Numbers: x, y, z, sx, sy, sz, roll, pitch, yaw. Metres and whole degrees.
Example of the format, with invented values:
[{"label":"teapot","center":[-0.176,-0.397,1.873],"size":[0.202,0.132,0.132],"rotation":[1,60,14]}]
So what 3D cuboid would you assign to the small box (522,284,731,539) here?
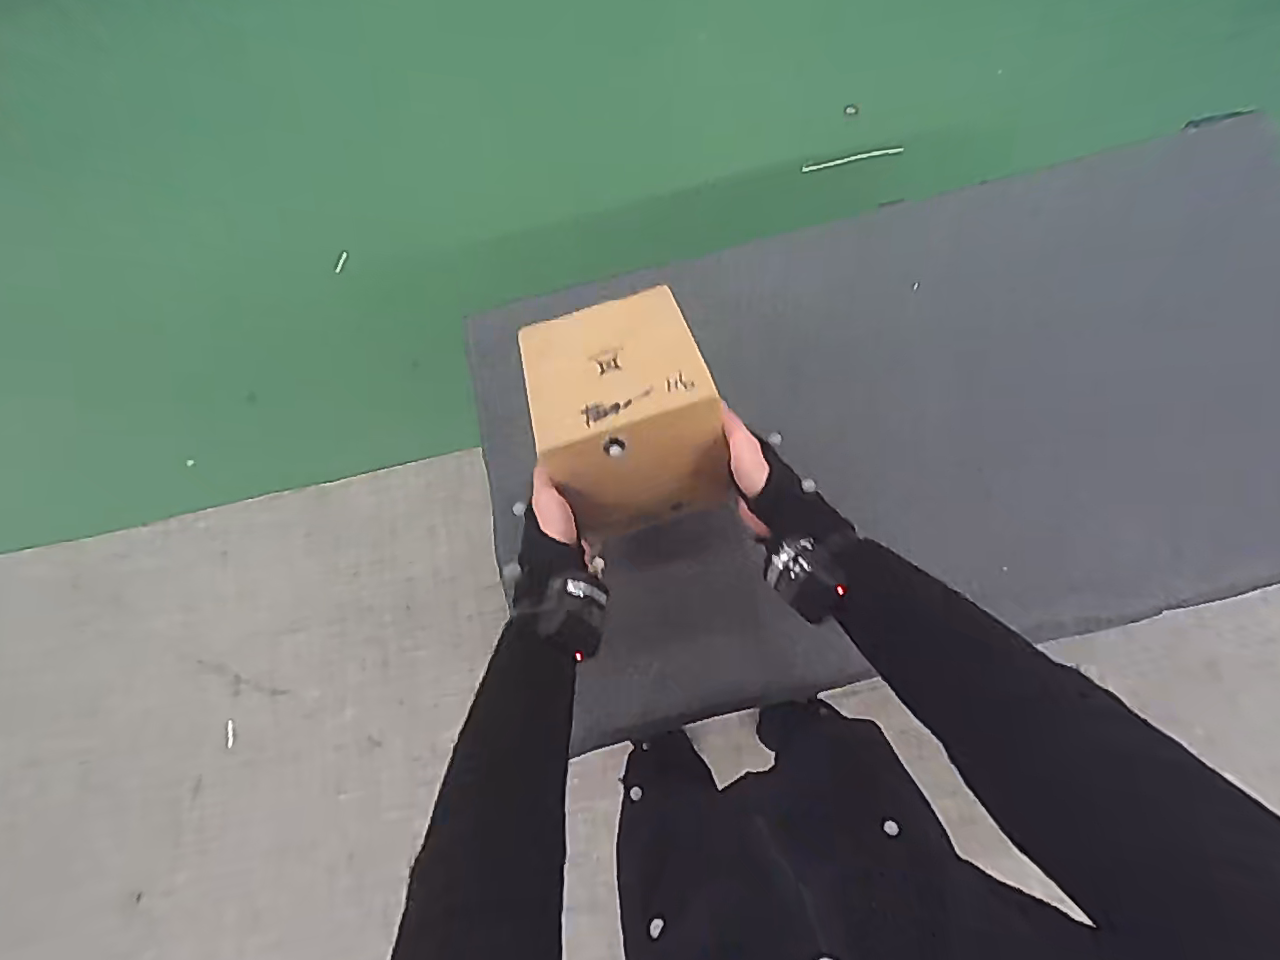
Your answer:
[{"label":"small box","center":[-0.011,-0.068,0.572],"size":[0.168,0.176,0.179],"rotation":[-19,52,2]}]
